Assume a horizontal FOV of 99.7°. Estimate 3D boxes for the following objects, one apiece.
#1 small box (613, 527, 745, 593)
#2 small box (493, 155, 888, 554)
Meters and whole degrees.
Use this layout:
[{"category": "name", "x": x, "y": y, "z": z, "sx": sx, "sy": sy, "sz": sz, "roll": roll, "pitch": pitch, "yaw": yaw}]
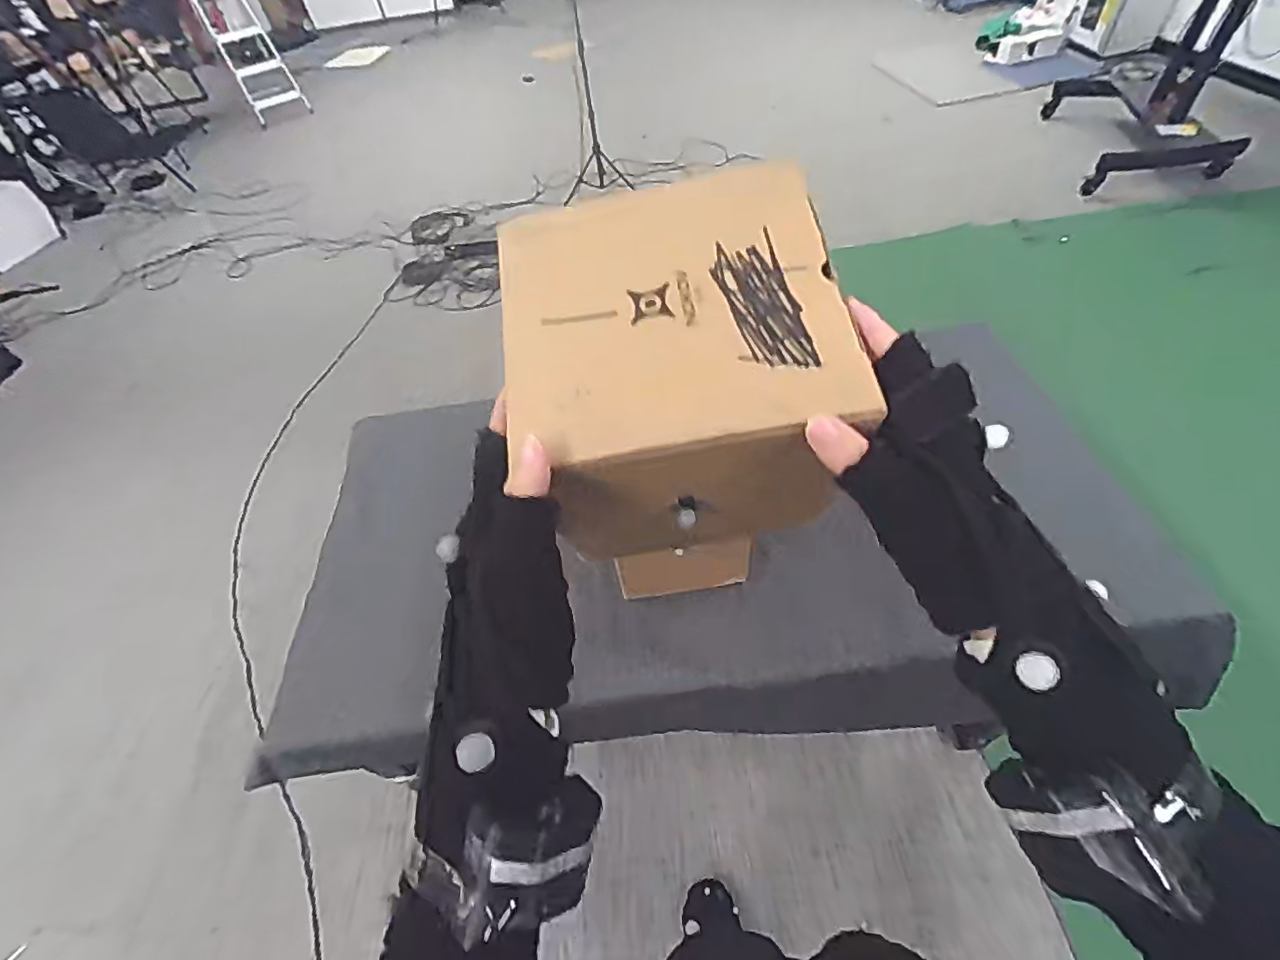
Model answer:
[{"category": "small box", "x": 0.044, "y": 0.042, "z": 0.745, "sx": 0.179, "sy": 0.176, "sz": 0.168, "roll": -8, "pitch": 52, "yaw": 0}, {"category": "small box", "x": 0.022, "y": -0.062, "z": 0.347, "sx": 0.179, "sy": 0.176, "sz": 0.168, "roll": -11, "pitch": 67, "yaw": 1}]
